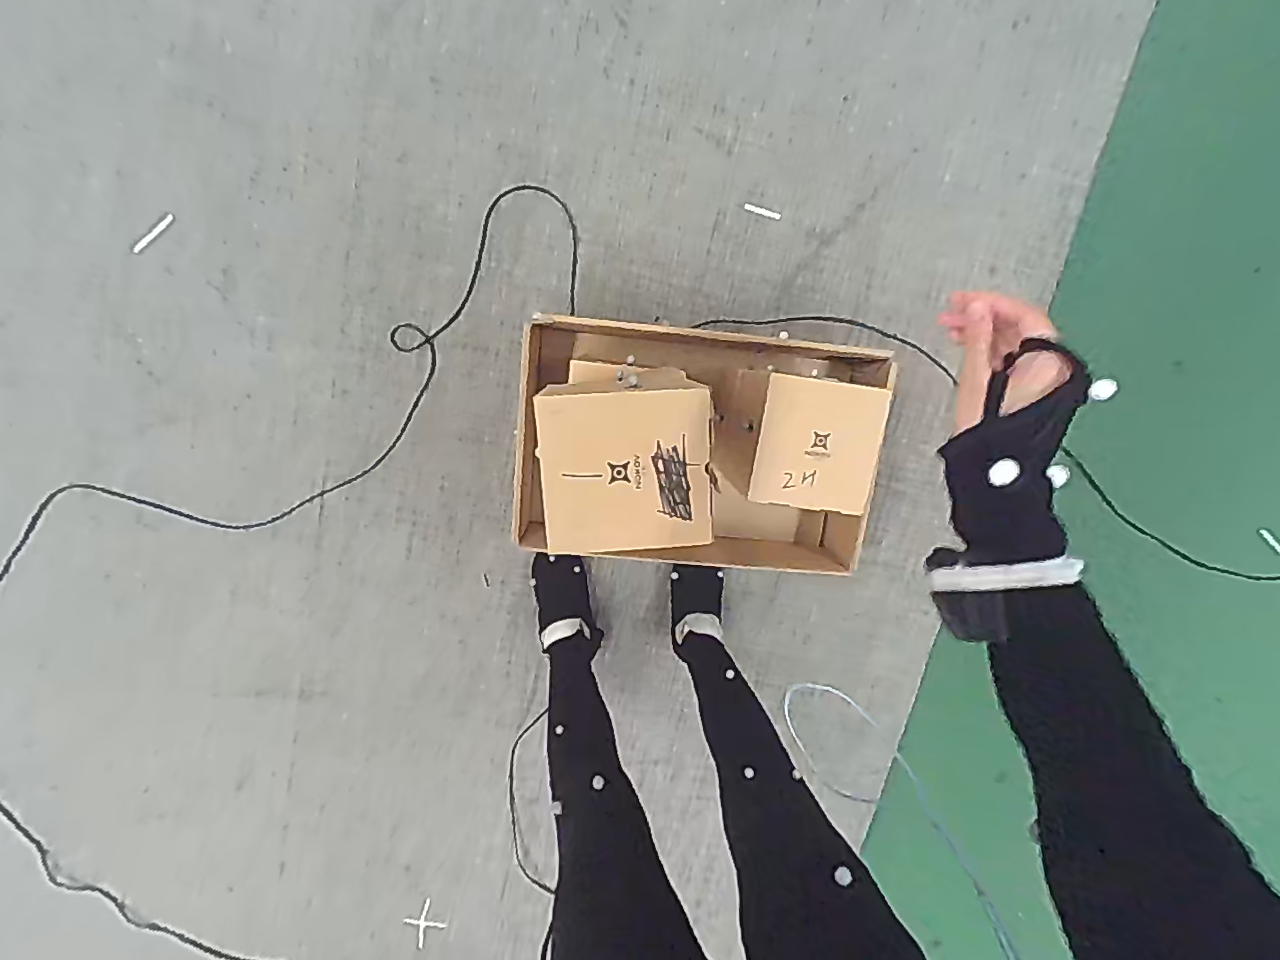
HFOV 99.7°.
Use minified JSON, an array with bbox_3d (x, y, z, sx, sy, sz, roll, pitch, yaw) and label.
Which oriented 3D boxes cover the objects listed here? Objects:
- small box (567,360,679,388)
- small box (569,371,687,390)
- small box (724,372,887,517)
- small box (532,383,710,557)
[{"bbox_3d":[-0.039,-0.116,0.938,0.179,0.176,0.168,5,103,-7],"label":"small box"},{"bbox_3d":[-0.021,-0.062,0.784,0.179,0.176,0.168,-11,104,-1],"label":"small box"},{"bbox_3d":[0.228,-0.061,0.795,0.168,0.176,0.179,8,103,-4],"label":"small box"},{"bbox_3d":[-0.022,-0.022,0.625,0.179,0.176,0.168,-4,104,-3],"label":"small box"}]
